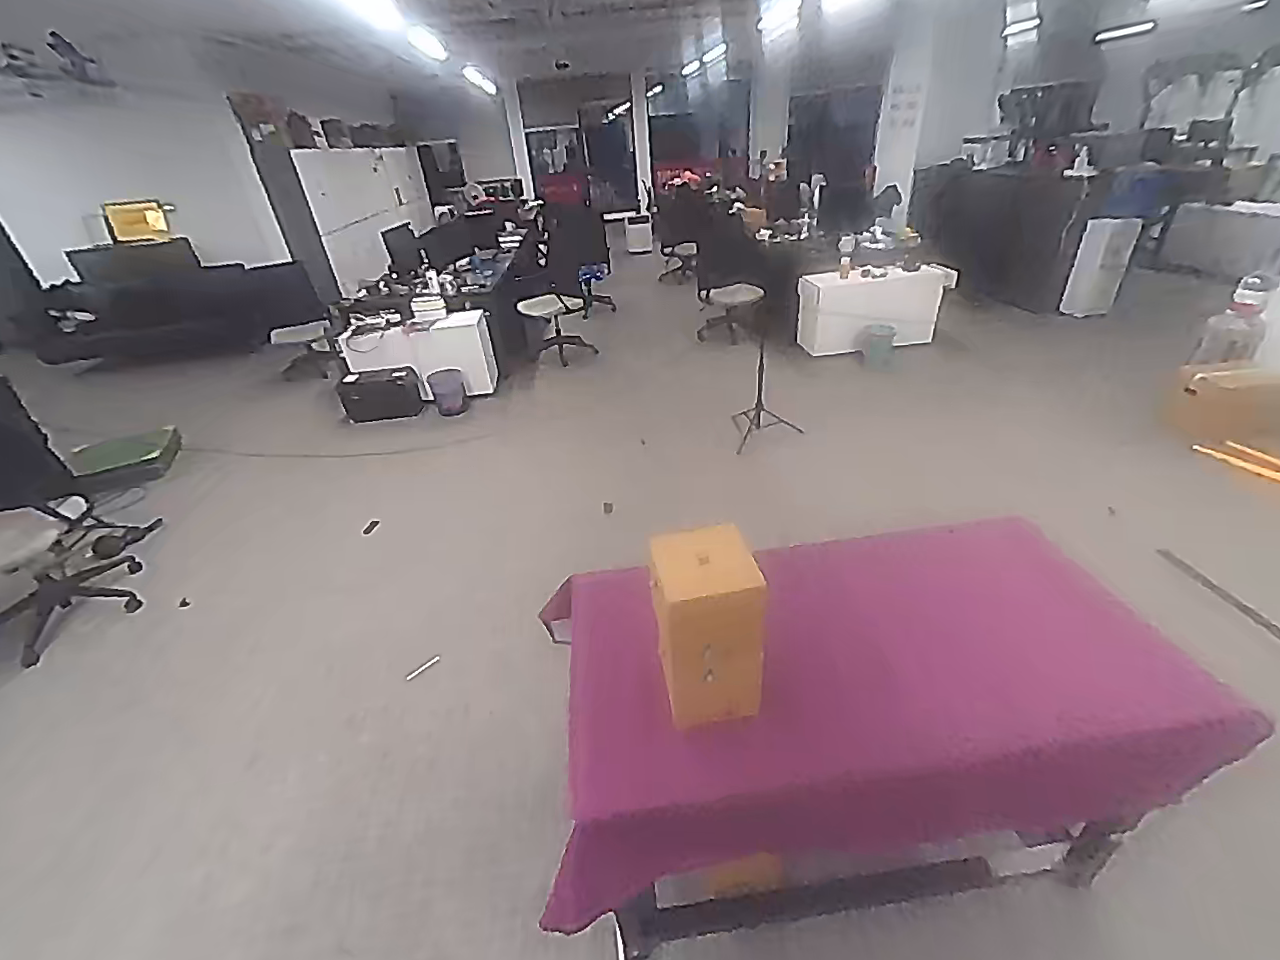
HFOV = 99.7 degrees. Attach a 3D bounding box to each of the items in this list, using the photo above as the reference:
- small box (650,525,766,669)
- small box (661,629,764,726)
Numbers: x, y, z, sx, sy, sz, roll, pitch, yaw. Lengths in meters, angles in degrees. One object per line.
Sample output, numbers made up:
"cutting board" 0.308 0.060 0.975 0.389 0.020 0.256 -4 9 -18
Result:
"small box" 0.115 0.206 0.970 0.168 0.176 0.179 -9 32 -6
"small box" 0.133 0.345 1.055 0.168 0.176 0.179 -8 32 -4
